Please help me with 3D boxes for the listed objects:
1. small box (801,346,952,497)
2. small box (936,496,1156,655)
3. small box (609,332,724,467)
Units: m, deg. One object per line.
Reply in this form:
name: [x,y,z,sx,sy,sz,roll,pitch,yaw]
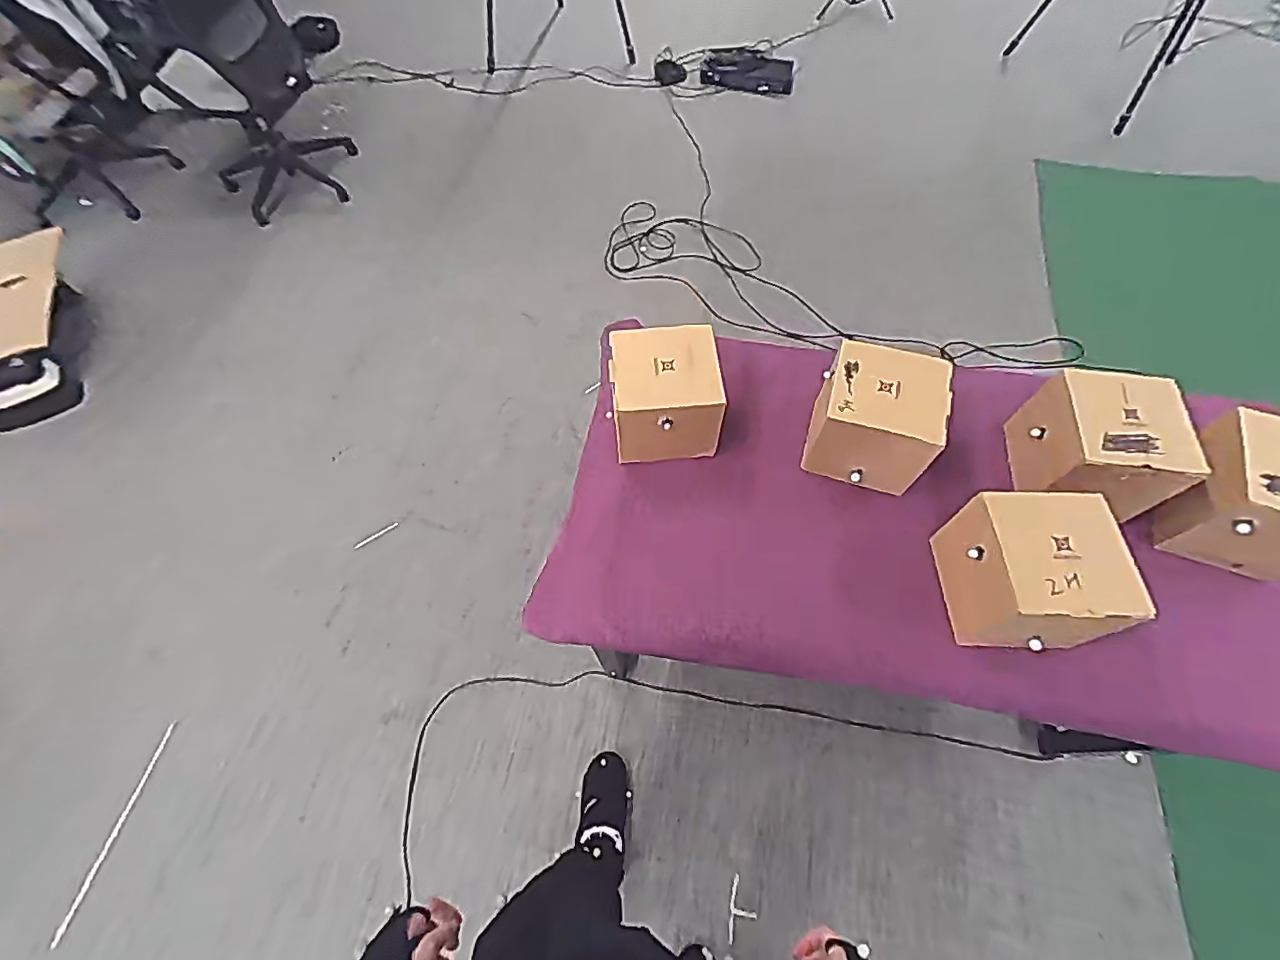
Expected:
small box: [0.389,-0.090,0.907,0.179,0.176,0.168,16,63,10]
small box: [0.553,0.140,0.772,0.168,0.176,0.179,1,60,3]
small box: [0.043,-0.133,0.941,0.179,0.176,0.168,-4,62,-1]
